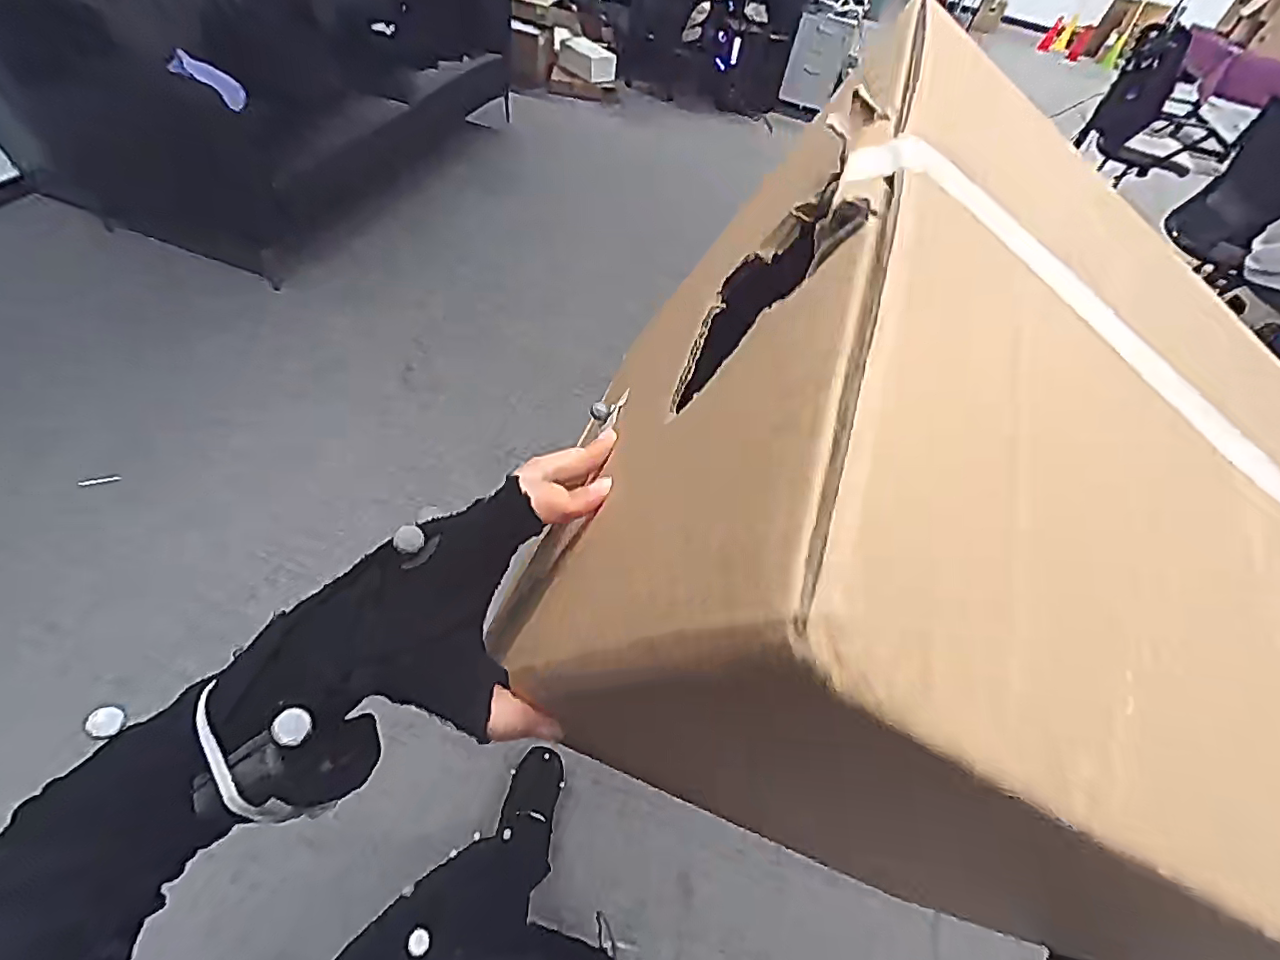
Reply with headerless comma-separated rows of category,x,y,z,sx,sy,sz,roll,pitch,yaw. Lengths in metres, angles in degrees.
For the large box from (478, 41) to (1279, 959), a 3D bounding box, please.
large box,0.171,0.058,0.349,0.408,0.320,0.320,32,59,-14
